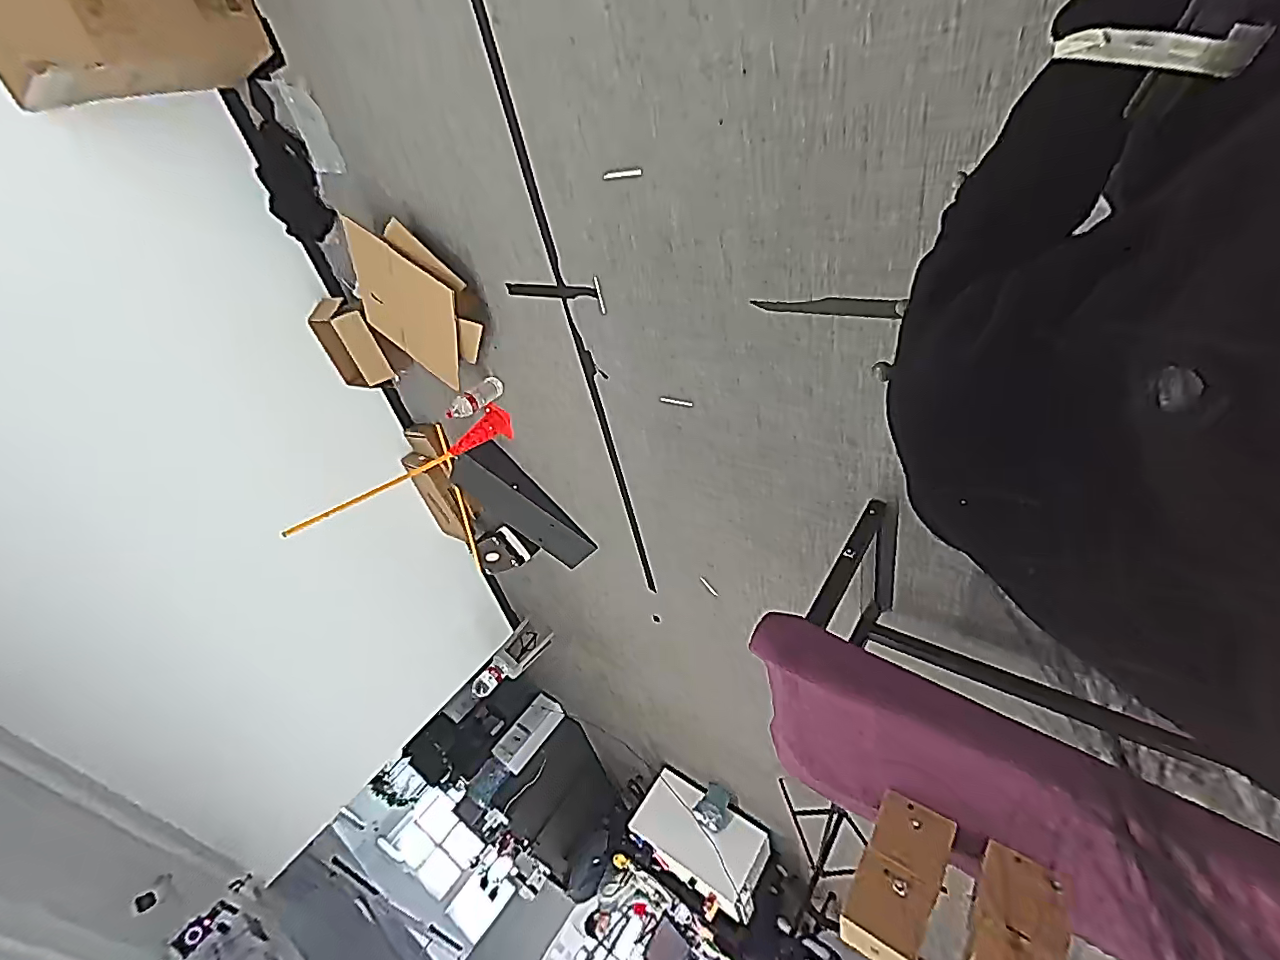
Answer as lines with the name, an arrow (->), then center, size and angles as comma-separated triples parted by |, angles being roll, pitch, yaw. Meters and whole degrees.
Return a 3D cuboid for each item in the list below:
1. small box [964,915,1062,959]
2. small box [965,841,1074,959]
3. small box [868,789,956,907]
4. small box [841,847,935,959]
small box -> 0.787, 1.078, 1.142 | 0.168, 0.176, 0.179 | 18, 135, 33
small box -> 0.870, 0.977, 1.240 | 0.168, 0.176, 0.179 | 16, 136, 35
small box -> 0.692, 0.940, 1.384 | 0.168, 0.176, 0.179 | 16, 135, 34
small box -> 0.594, 1.036, 1.297 | 0.168, 0.176, 0.179 | 13, 133, 36
